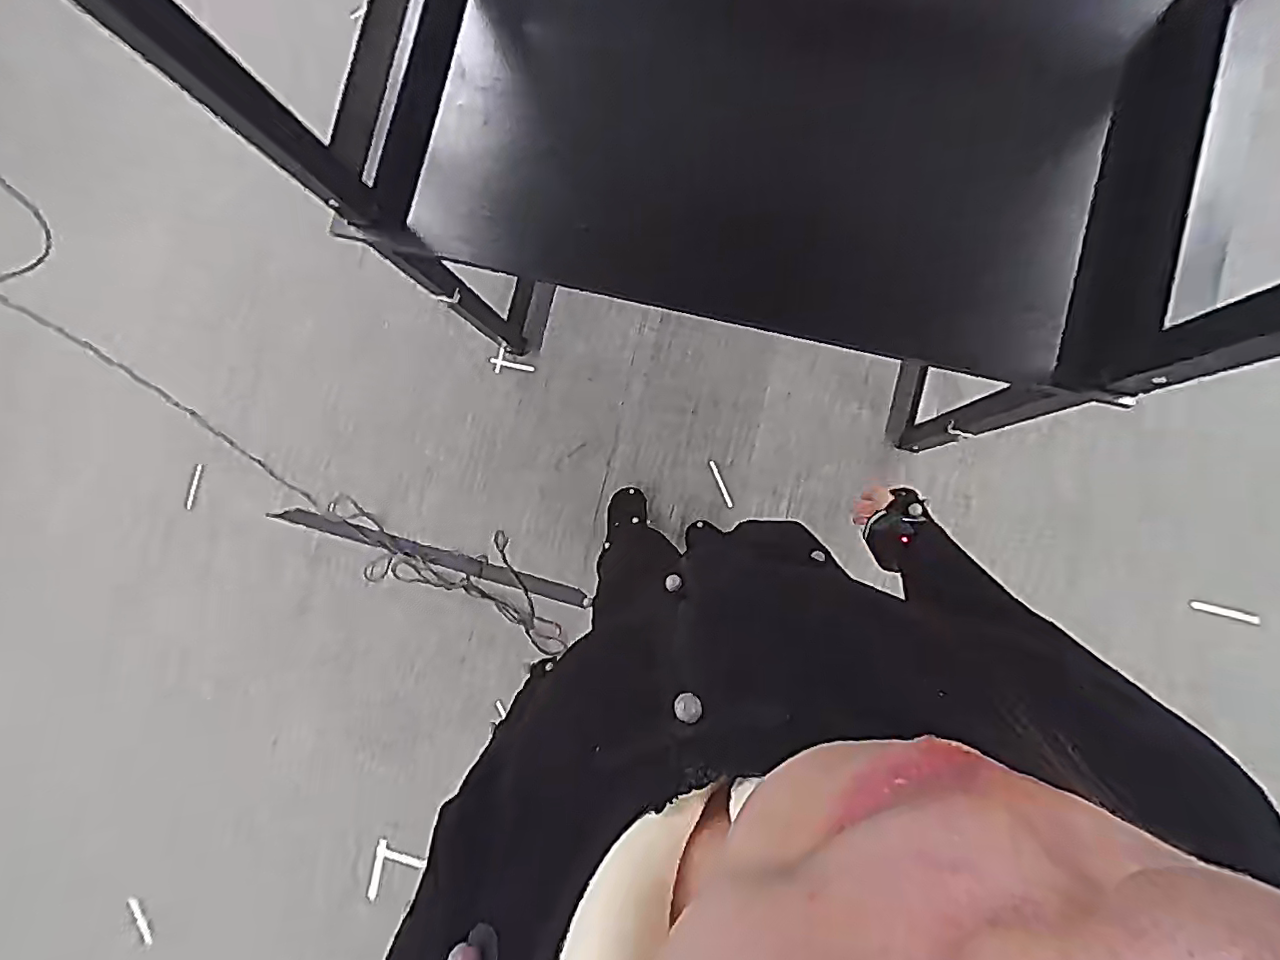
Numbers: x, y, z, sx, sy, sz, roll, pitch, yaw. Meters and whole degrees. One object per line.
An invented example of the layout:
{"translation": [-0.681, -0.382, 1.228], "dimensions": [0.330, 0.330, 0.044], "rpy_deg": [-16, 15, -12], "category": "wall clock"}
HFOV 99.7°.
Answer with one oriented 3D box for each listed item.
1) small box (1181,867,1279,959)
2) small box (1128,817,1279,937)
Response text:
{"translation": [1.255, 0.923, 1.076], "dimensions": [0.179, 0.176, 0.168], "rpy_deg": [20, 90, 7], "category": "small box"}
{"translation": [1.281, 0.928, 1.240], "dimensions": [0.168, 0.176, 0.179], "rpy_deg": [16, 90, 7], "category": "small box"}
